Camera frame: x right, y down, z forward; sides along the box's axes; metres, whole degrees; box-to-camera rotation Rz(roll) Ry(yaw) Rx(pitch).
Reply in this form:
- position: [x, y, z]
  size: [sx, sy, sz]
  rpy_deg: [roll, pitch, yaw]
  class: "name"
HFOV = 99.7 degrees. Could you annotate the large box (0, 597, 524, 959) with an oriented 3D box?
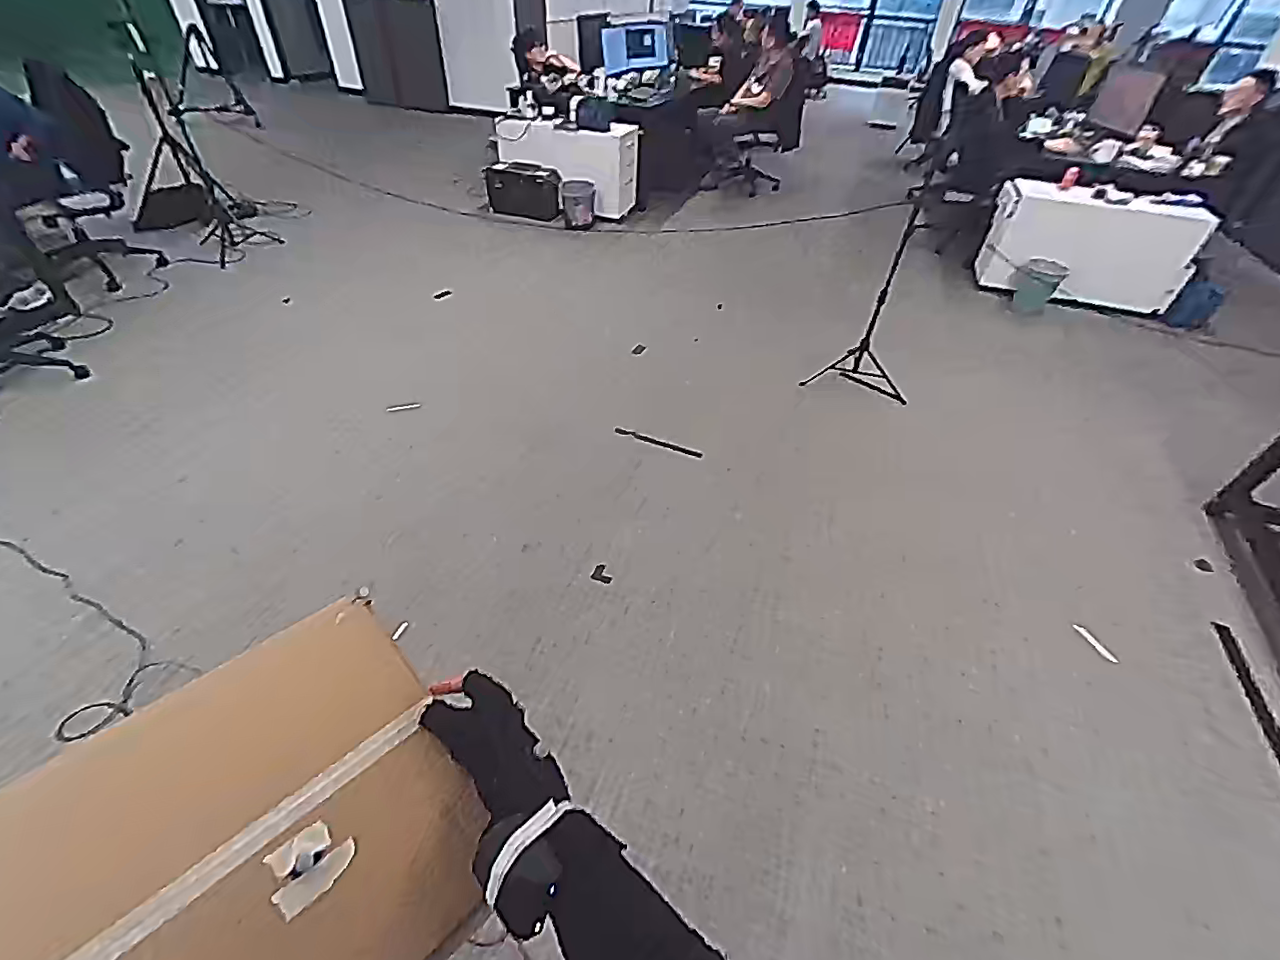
- position: [-0.371, 0.406, 0.541]
  size: [0.408, 0.320, 0.320]
  rpy_deg: [-32, 65, -33]
  class: "large box"
